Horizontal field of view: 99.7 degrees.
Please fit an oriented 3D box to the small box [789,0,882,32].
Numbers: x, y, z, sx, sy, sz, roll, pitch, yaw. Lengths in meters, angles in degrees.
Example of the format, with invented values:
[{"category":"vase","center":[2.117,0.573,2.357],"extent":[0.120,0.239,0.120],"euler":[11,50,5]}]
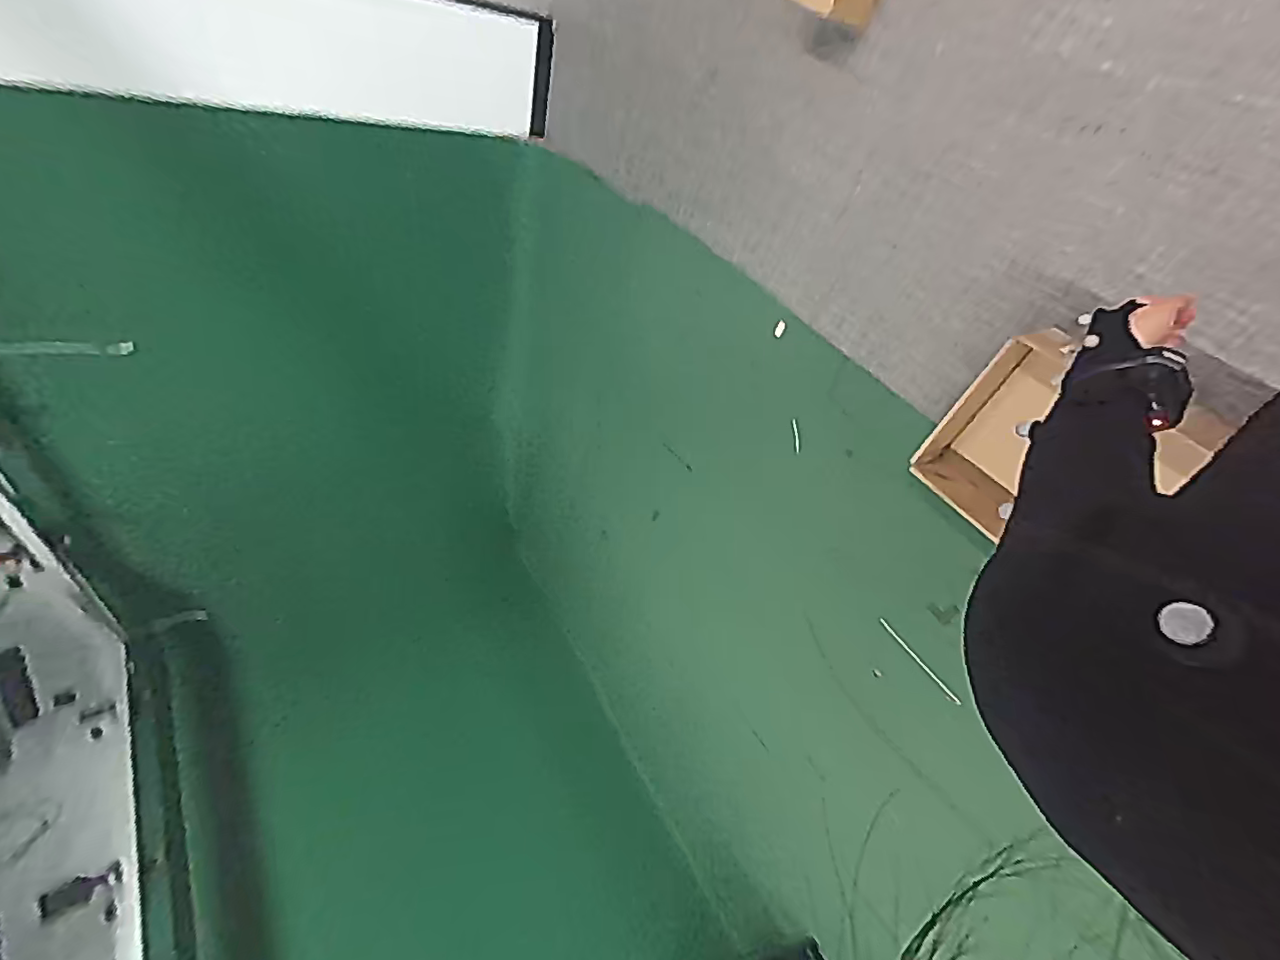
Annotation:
[{"category":"small box","center":[0.504,-1.259,1.351],"extent":[0.179,0.176,0.168],"euler":[55,143,27]}]
